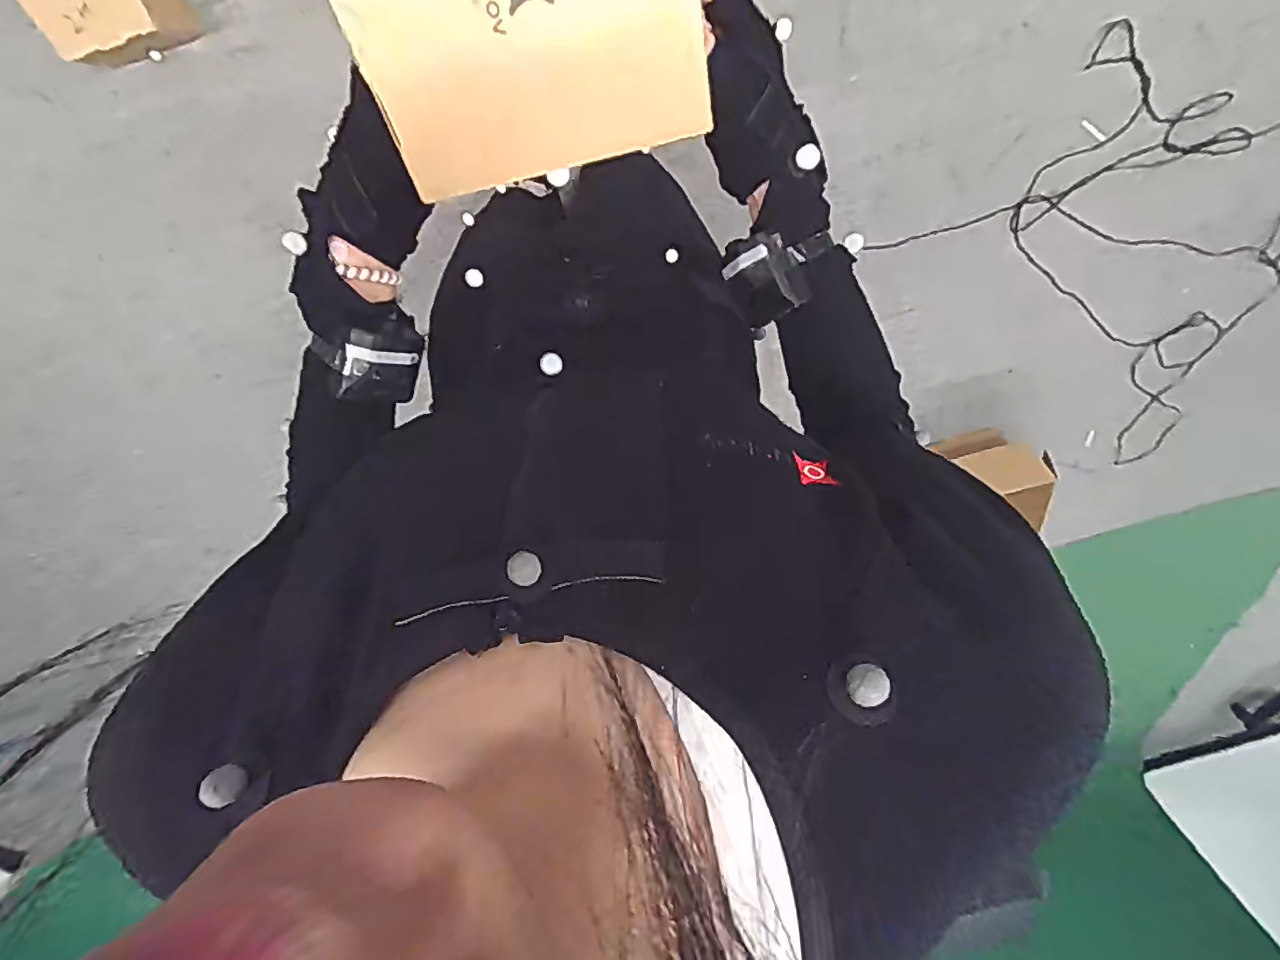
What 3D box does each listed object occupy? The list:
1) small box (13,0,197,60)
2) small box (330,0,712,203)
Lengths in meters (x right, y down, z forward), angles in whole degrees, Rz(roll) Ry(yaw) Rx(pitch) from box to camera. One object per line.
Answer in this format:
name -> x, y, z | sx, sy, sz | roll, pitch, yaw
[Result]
small box -> -0.874, -0.797, 0.859 | 0.168, 0.176, 0.179 | -18, 129, 3
small box -> -0.066, -0.289, 0.309 | 0.179, 0.176, 0.168 | -11, 134, 4
